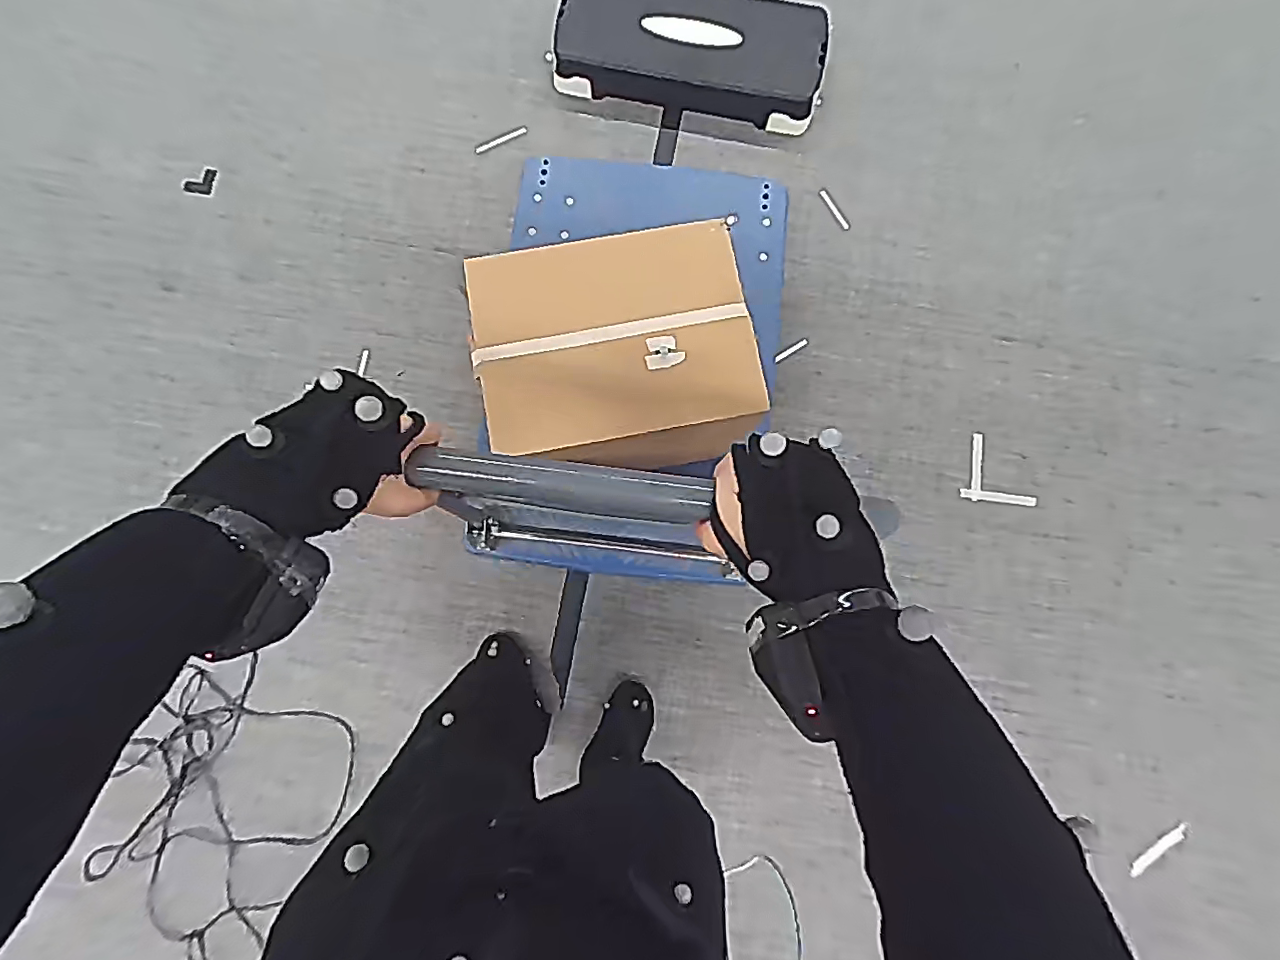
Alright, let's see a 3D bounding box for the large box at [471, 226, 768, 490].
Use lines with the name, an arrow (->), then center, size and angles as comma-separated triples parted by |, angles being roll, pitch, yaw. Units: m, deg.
large box -> -0.039, -0.185, 0.948 | 0.408, 0.320, 0.320 | -10, 82, -3
